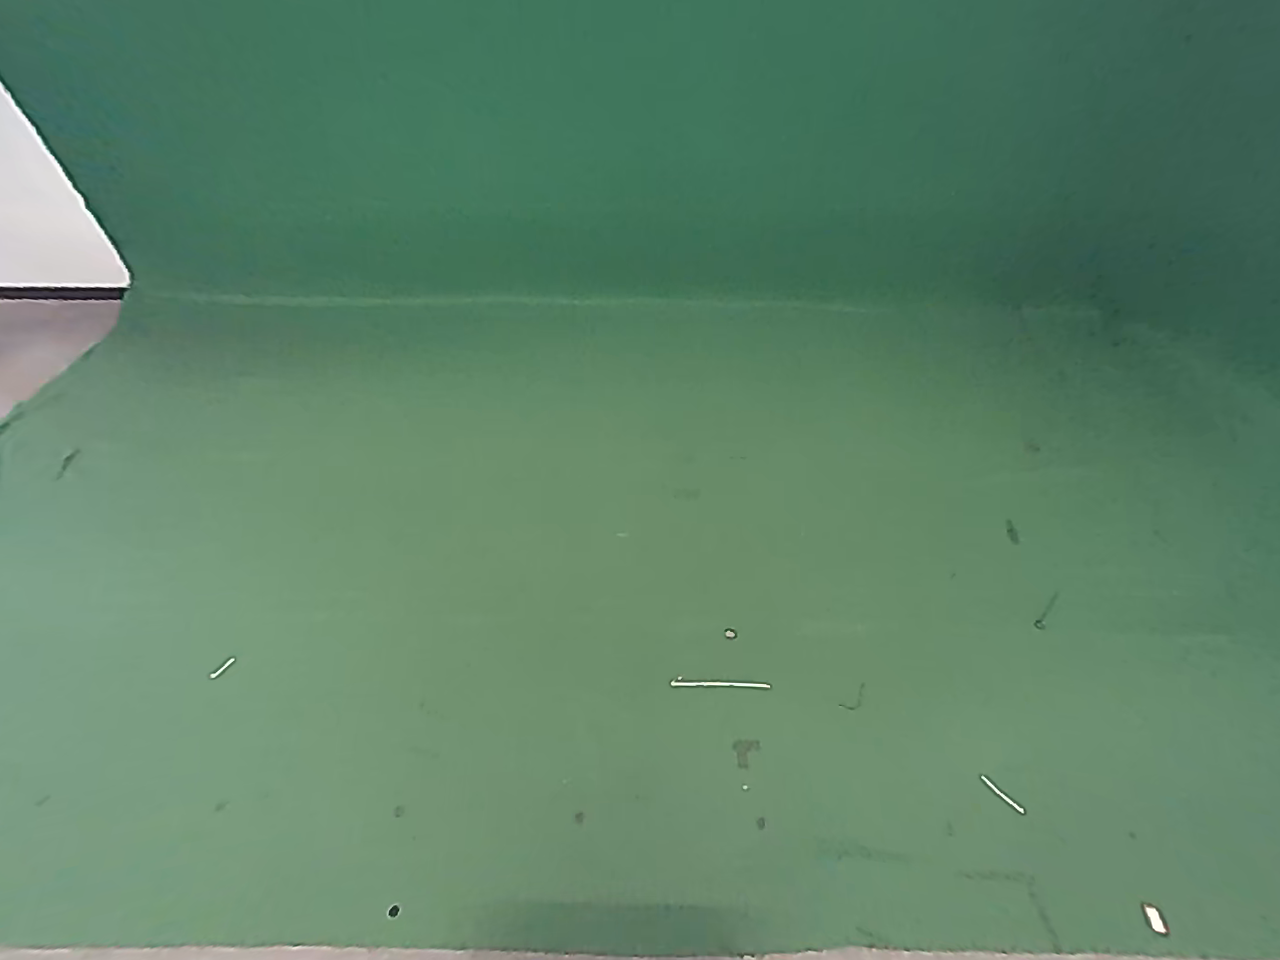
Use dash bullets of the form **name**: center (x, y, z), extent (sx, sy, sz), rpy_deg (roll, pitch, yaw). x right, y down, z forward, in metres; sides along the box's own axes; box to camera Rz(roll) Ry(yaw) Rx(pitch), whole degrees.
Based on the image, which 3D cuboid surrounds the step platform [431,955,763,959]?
- **step platform**: center (-0.077, 1.025, 0.946), extent (0.684, 0.204, 0.286), rpy_deg (0, 47, 0)
